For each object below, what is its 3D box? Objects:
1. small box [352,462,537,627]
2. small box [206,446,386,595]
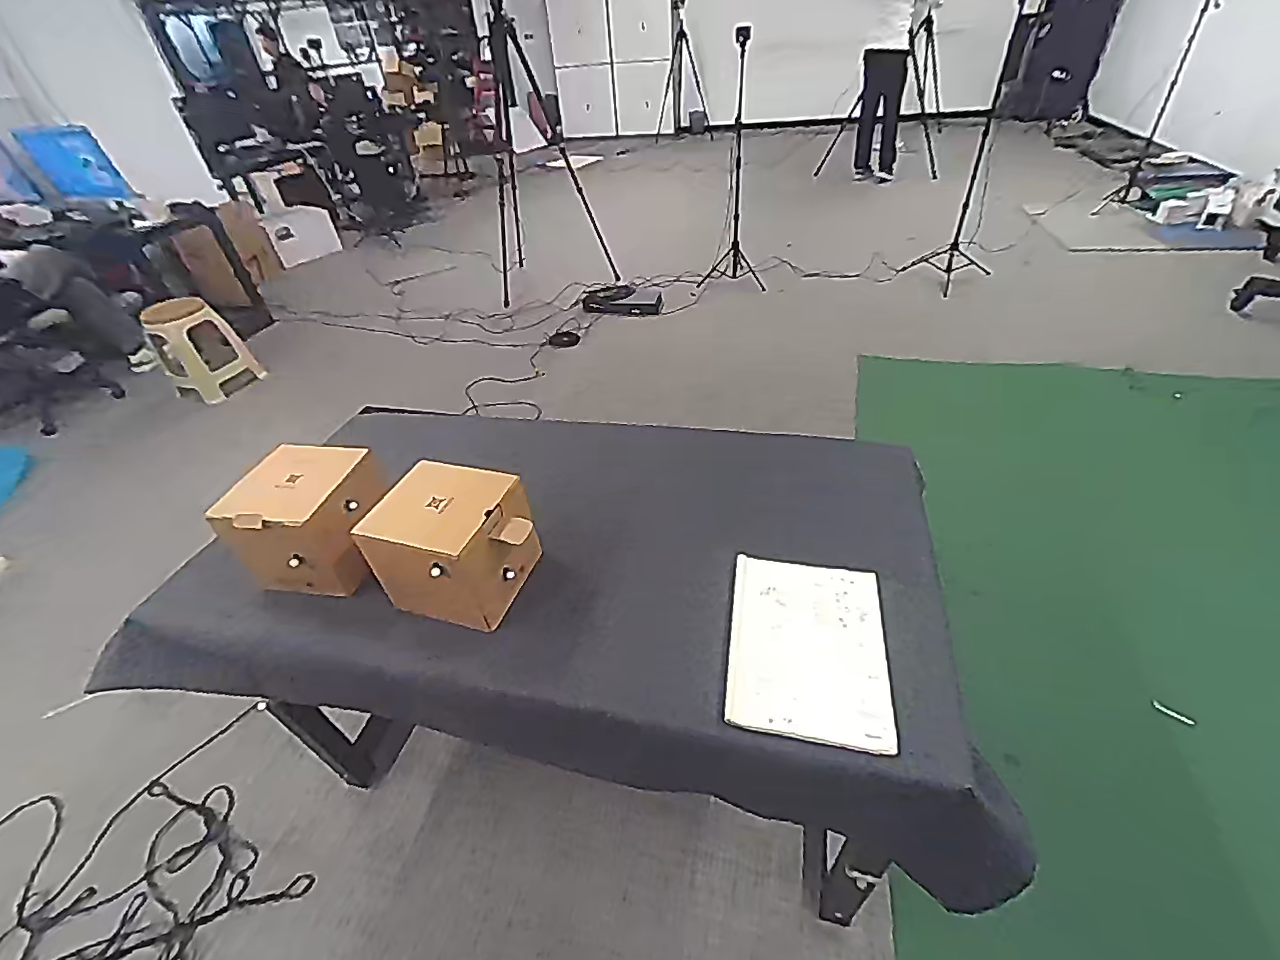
[{"bbox_3d":[-0.277,0.096,0.809,0.179,0.176,0.168,9,41,16],"label":"small box"},{"bbox_3d":[-0.526,0.065,0.875,0.168,0.176,0.179,4,39,9],"label":"small box"}]
